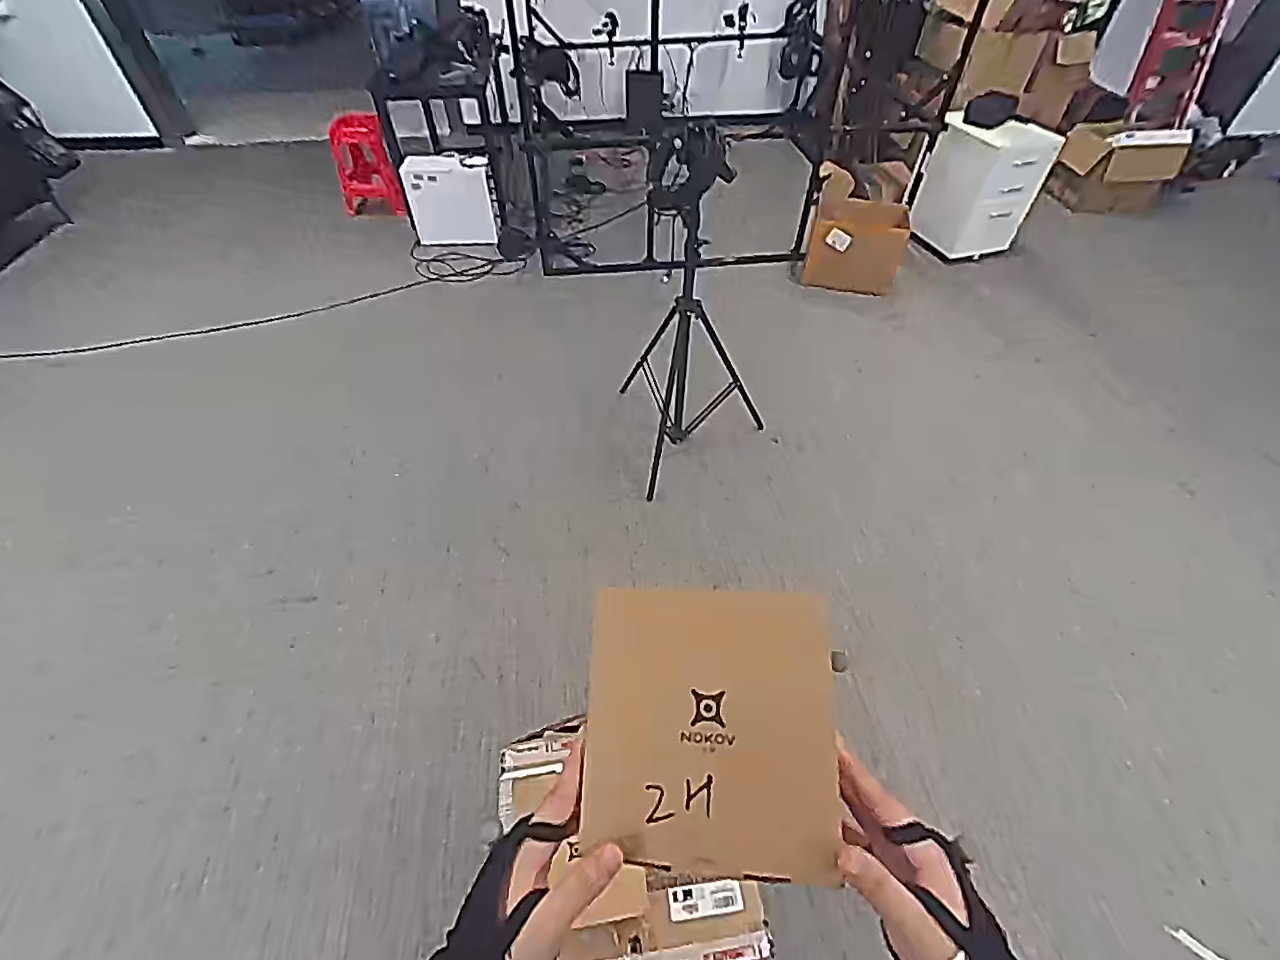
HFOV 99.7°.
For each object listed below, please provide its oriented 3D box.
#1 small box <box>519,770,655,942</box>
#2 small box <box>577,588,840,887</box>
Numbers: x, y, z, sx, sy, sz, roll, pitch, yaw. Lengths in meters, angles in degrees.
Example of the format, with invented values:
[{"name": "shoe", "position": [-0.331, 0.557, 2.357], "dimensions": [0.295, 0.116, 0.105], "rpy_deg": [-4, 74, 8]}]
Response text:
[{"name": "small box", "position": [-0.075, 0.523, 0.763], "dimensions": [0.168, 0.176, 0.179], "rpy_deg": [-8, 53, -5]}, {"name": "small box", "position": [0.056, 0.190, 0.437], "dimensions": [0.168, 0.176, 0.179], "rpy_deg": [-1, 70, 10]}]
